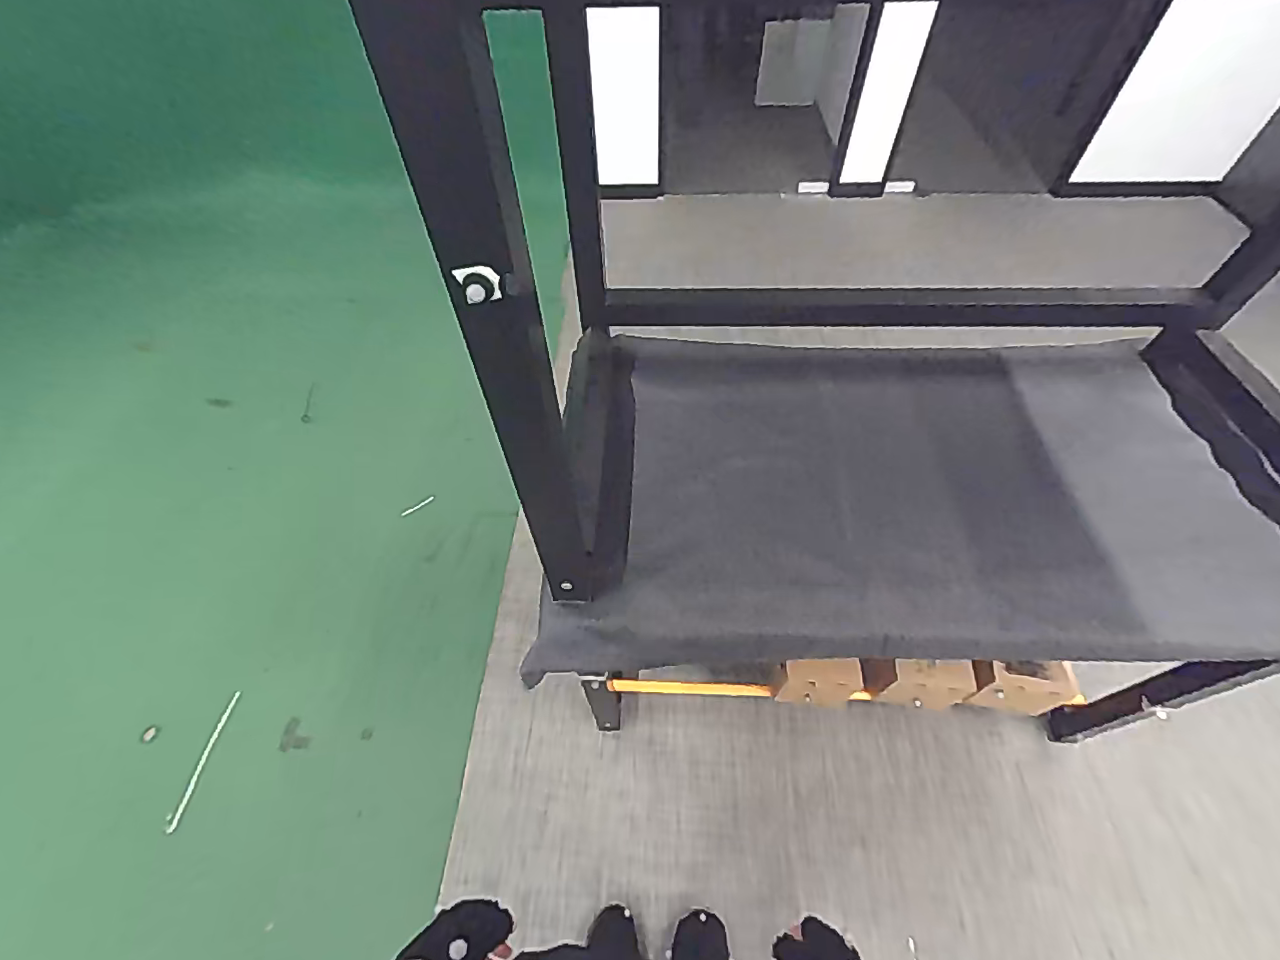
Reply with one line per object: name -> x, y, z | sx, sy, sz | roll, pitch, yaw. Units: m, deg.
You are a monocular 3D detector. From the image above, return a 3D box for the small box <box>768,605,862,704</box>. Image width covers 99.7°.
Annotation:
small box -> 0.403, 0.414, 1.276 | 0.168, 0.176, 0.179 | 3, 55, 3
